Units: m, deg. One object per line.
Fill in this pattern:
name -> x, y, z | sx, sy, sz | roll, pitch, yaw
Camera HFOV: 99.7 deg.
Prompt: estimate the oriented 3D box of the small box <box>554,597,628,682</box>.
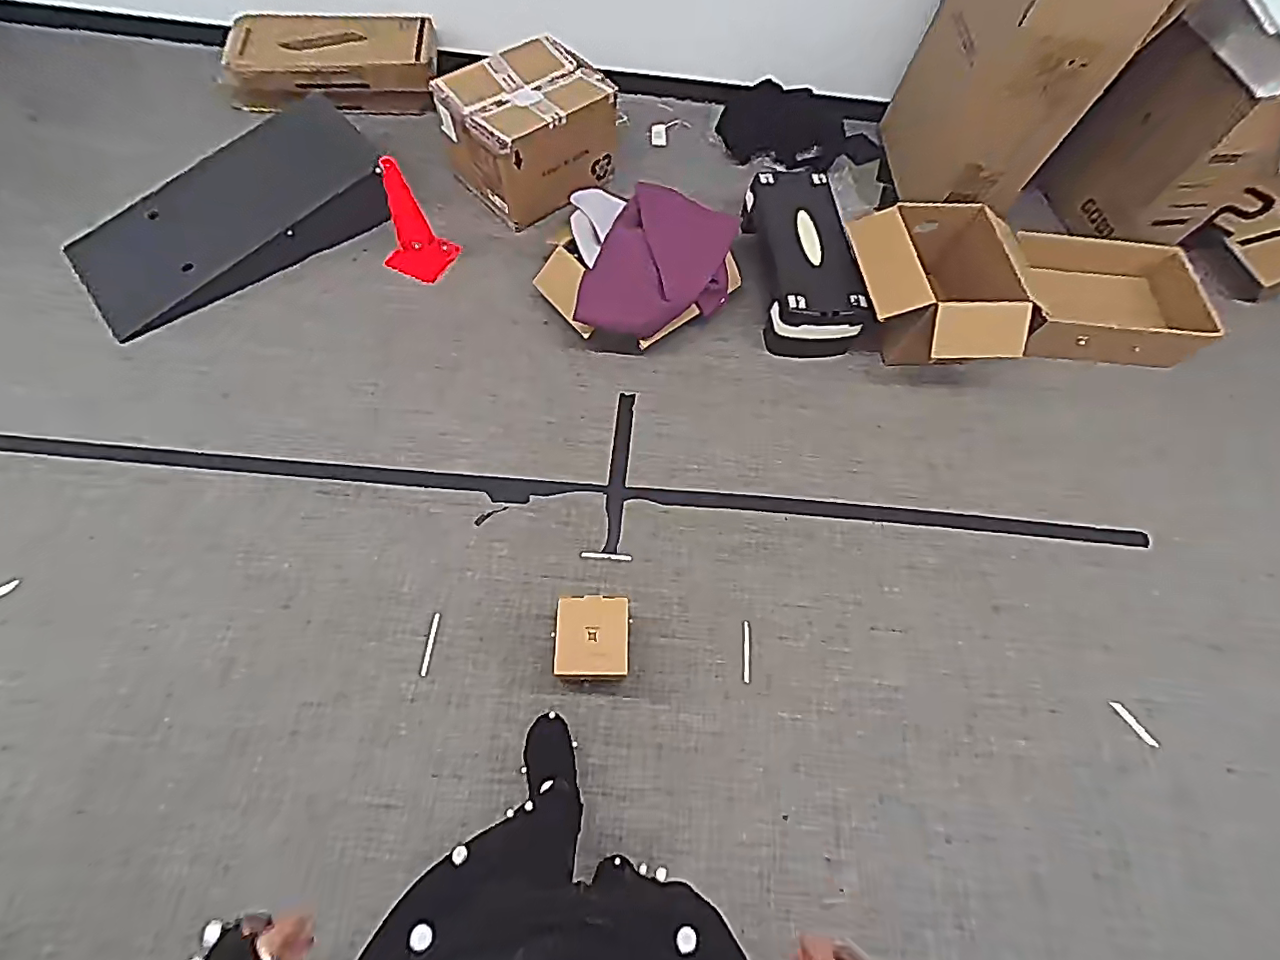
small box -> -0.114, 0.386, 1.300 | 0.168, 0.176, 0.179 | 1, 66, -3
